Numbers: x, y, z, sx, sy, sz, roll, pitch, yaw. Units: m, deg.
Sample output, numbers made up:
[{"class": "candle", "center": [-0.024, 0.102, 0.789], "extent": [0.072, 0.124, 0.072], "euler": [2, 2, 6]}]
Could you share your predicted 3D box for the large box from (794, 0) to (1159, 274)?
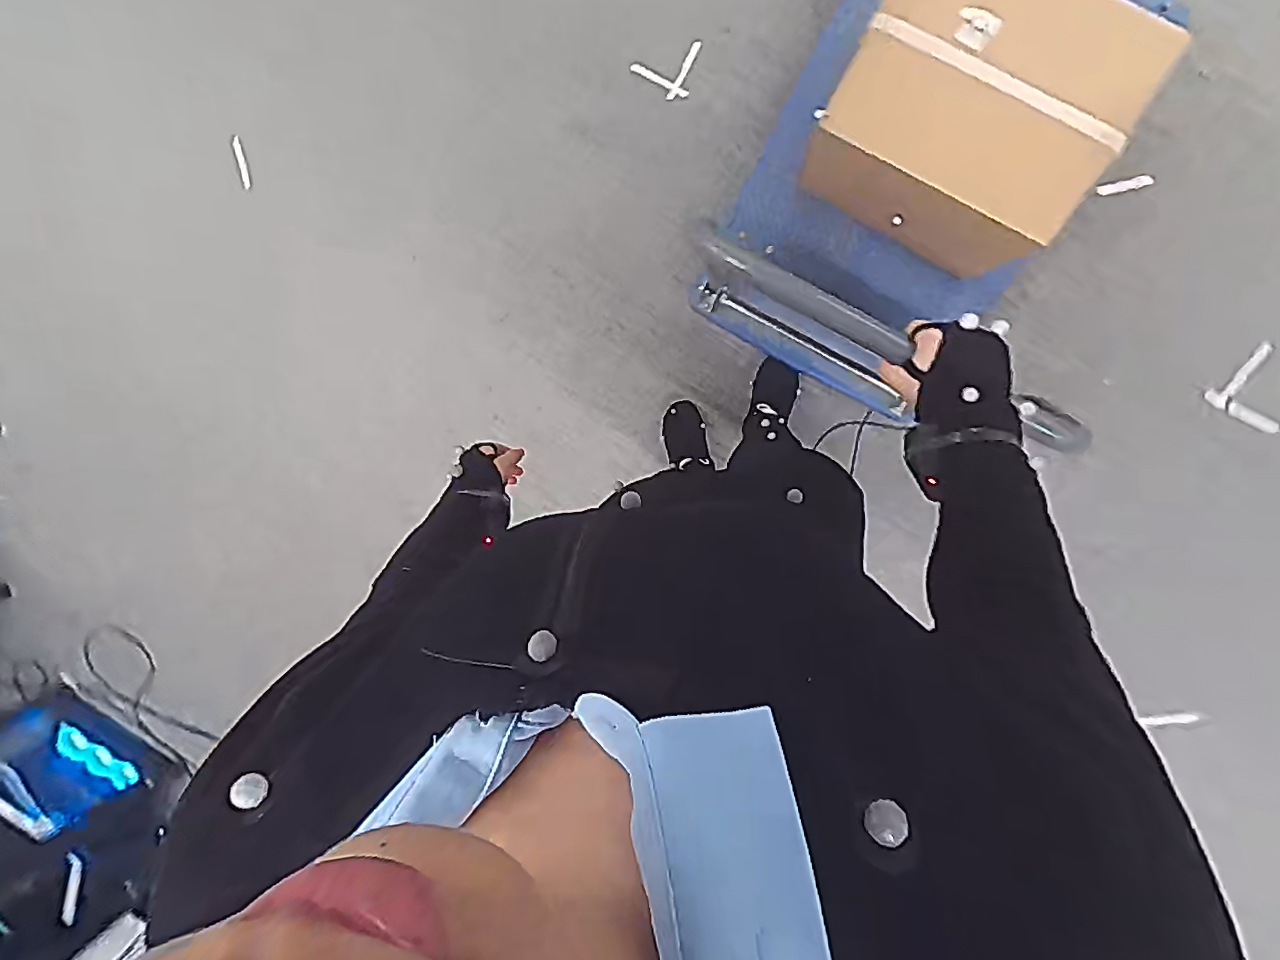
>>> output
[{"class": "large box", "center": [0.543, -0.625, 0.977], "extent": [0.408, 0.320, 0.320], "euler": [30, 104, 4]}]
